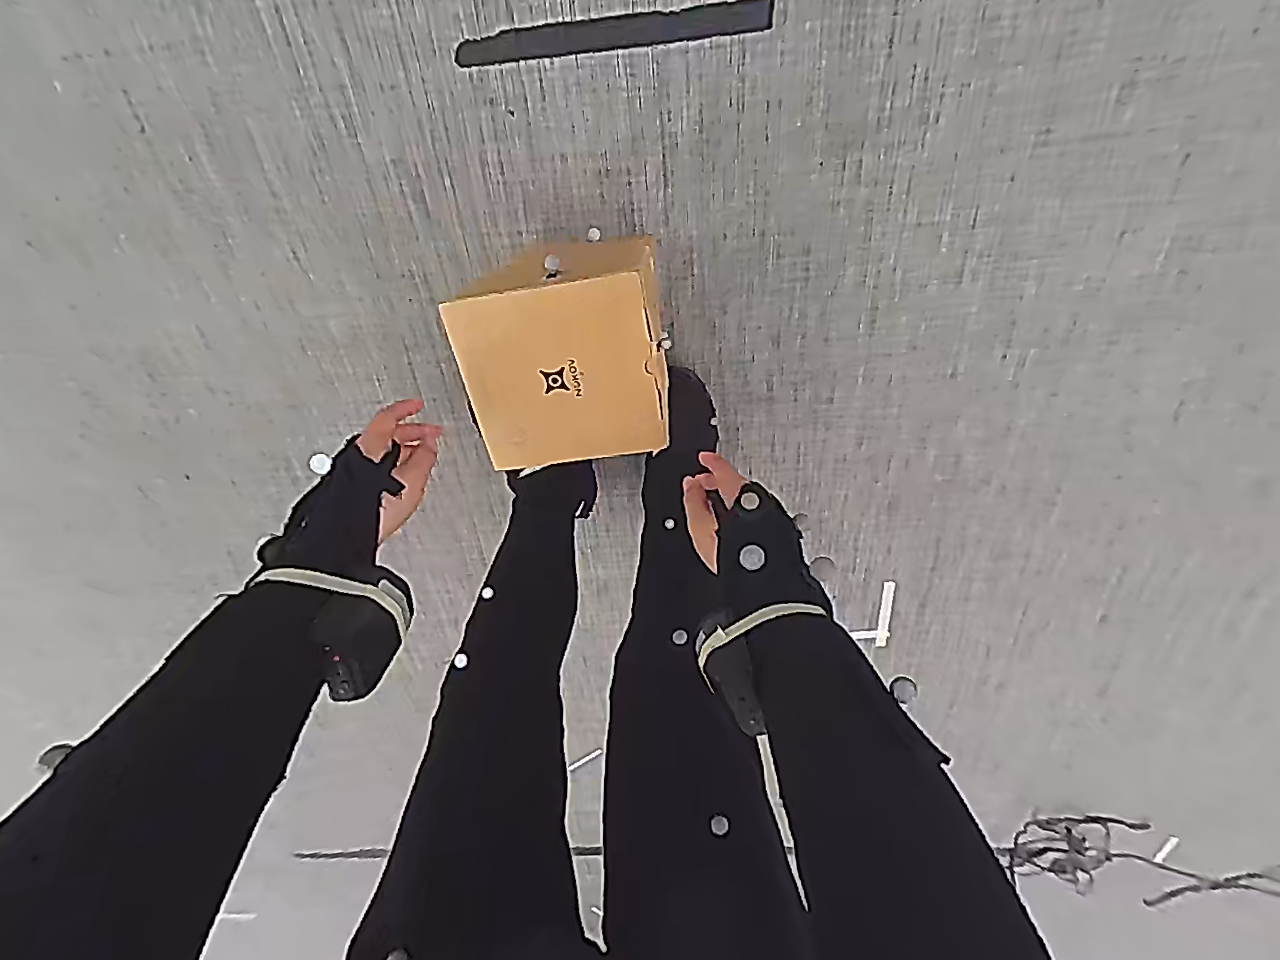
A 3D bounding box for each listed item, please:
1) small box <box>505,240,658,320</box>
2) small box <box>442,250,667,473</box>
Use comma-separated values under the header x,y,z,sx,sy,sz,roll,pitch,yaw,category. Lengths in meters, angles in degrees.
x,y,z,sx,sy,sz,roll,pitch,yaw,category
-0.060,-0.202,0.696,0.168,0.176,0.179,-2,120,2,small box
-0.068,-0.126,0.552,0.179,0.176,0.168,-8,120,6,small box
